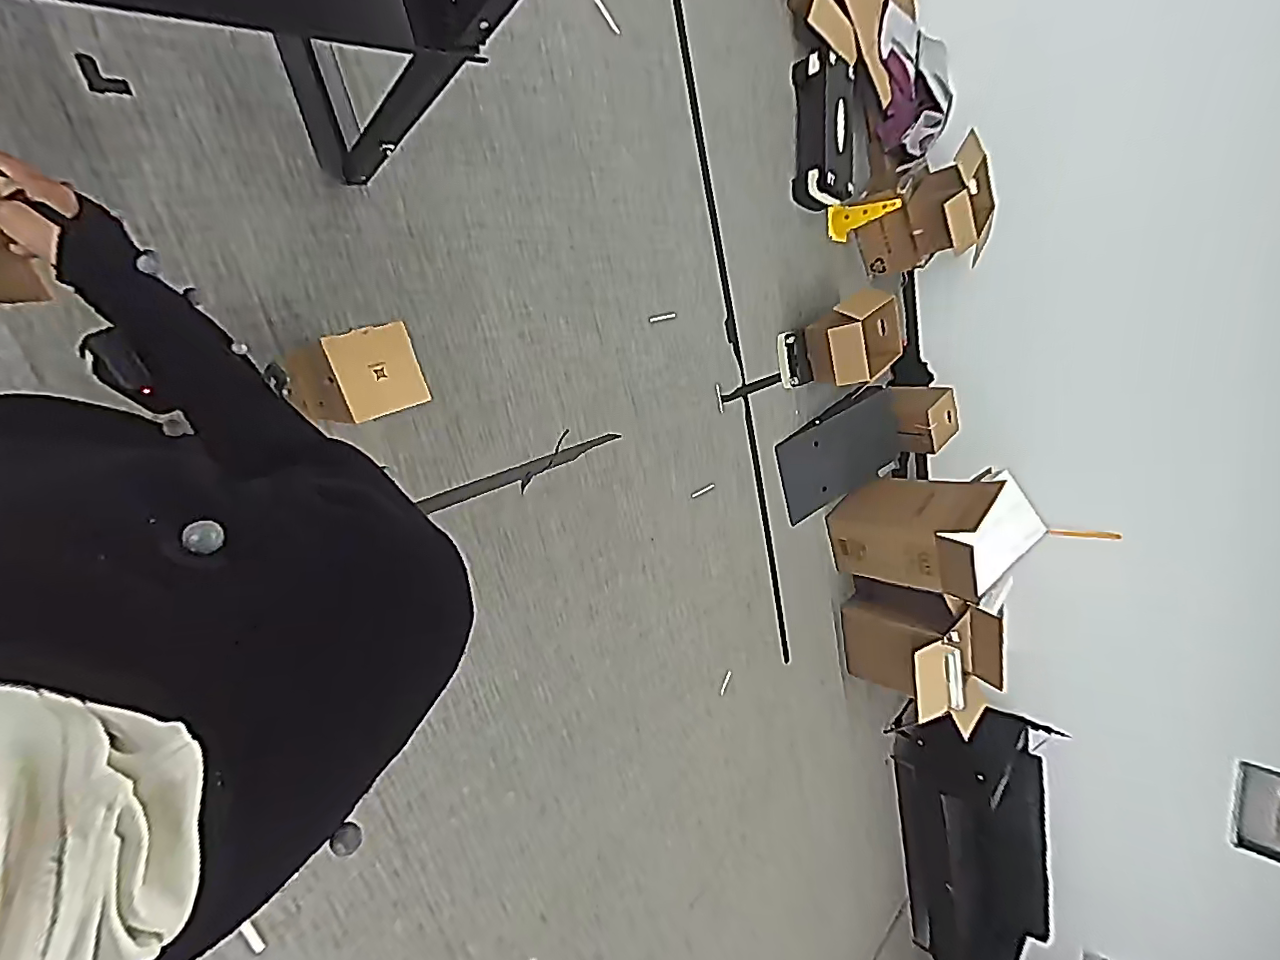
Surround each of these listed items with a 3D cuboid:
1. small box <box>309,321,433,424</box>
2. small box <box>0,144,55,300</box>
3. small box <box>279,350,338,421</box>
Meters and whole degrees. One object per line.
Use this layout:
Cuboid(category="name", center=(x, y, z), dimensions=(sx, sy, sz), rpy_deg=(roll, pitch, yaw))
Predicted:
Cuboid(category="small box", center=(-0.577, -0.228, 1.159), dimensions=(0.168, 0.176, 0.179), rpy_deg=(-29, 113, -36))
Cuboid(category="small box", center=(-0.667, -0.263, 0.470), dimensions=(0.168, 0.176, 0.179), rpy_deg=(-22, 96, -38))
Cuboid(category="small box", center=(-0.797, -0.257, 1.399), dimensions=(0.179, 0.176, 0.168), rpy_deg=(-27, 111, -36))
